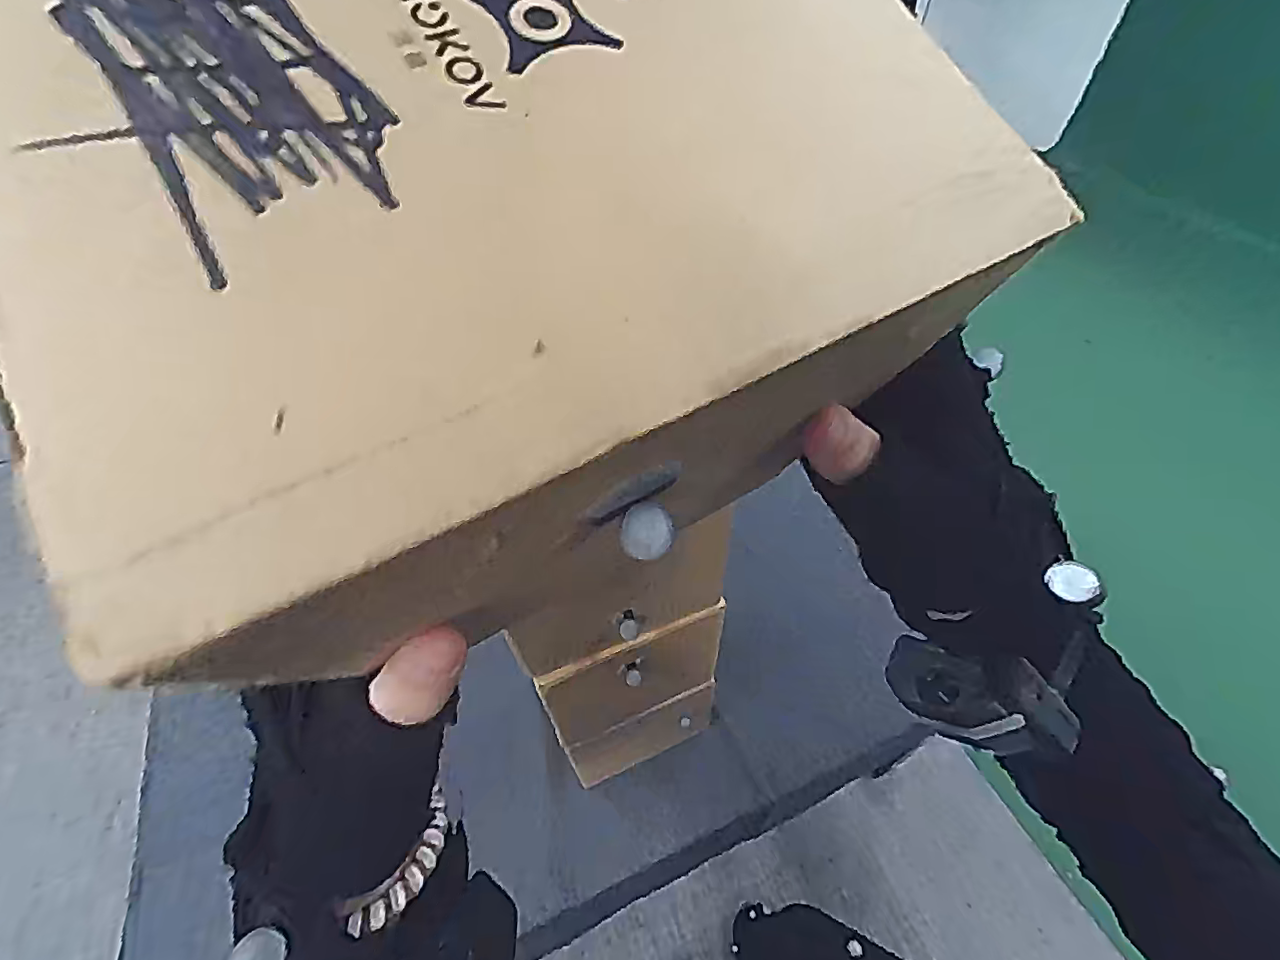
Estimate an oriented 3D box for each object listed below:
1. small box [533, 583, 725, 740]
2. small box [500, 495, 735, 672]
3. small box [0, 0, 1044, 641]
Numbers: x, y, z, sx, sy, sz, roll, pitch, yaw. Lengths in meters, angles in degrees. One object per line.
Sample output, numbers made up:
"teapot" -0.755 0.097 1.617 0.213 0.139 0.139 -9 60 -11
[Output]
"small box" -0.032 0.139 0.565 0.179 0.176 0.168 -20 51 -14
"small box" -0.044 0.028 0.446 0.179 0.176 0.168 -18 50 -13
"small box" -0.038 -0.059 0.182 0.179 0.176 0.168 -27 78 -16
